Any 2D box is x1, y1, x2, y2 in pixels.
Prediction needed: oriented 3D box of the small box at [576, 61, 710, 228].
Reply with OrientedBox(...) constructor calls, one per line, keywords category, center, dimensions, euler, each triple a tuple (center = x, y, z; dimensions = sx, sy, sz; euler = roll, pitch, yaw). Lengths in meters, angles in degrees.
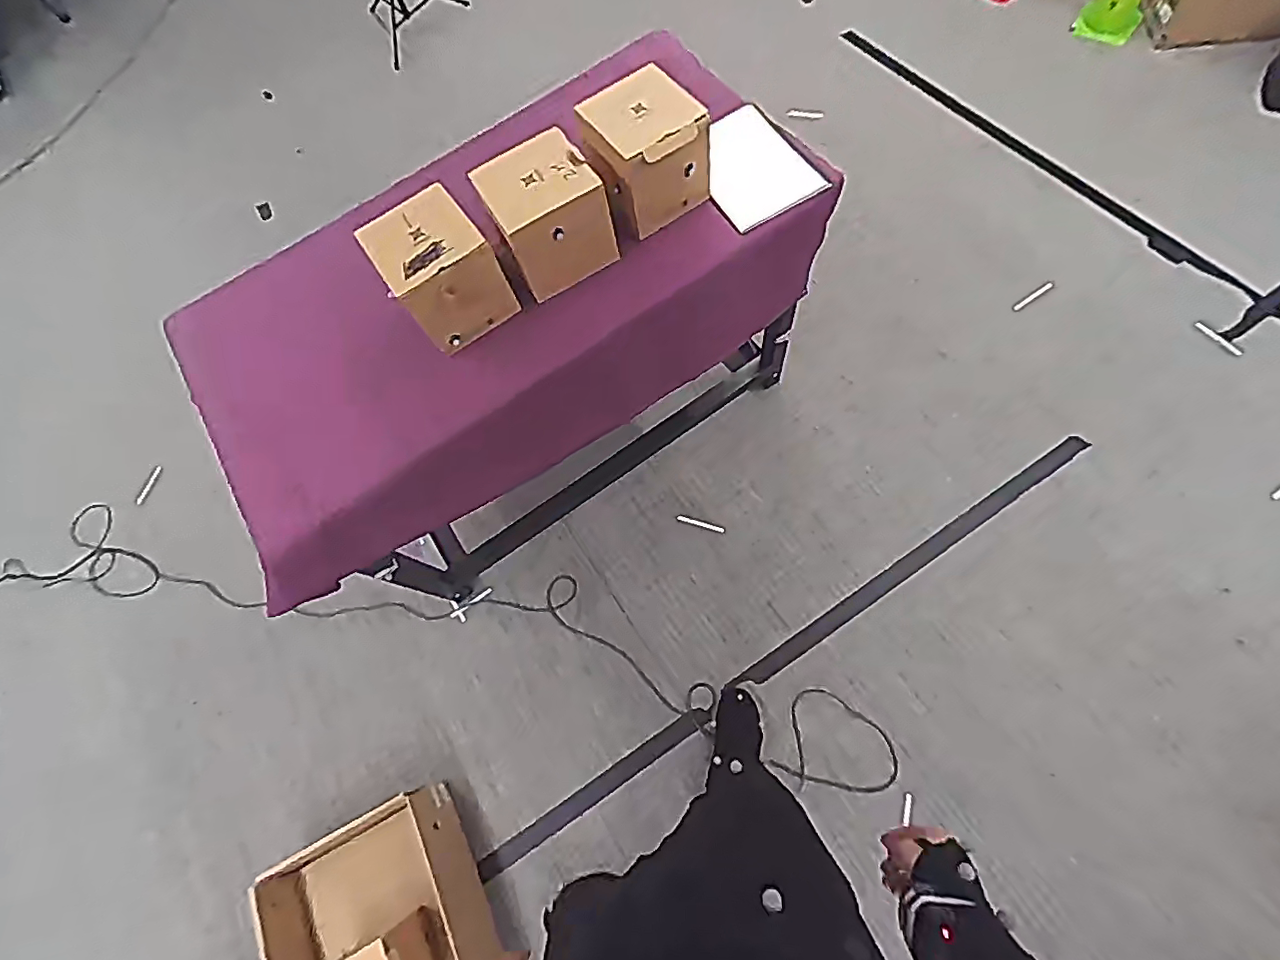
OrientedBox(category="small box", center=(0.013, -0.586, 0.969), dimensions=(0.168, 0.176, 0.179), euler=(-33, 68, -6))
